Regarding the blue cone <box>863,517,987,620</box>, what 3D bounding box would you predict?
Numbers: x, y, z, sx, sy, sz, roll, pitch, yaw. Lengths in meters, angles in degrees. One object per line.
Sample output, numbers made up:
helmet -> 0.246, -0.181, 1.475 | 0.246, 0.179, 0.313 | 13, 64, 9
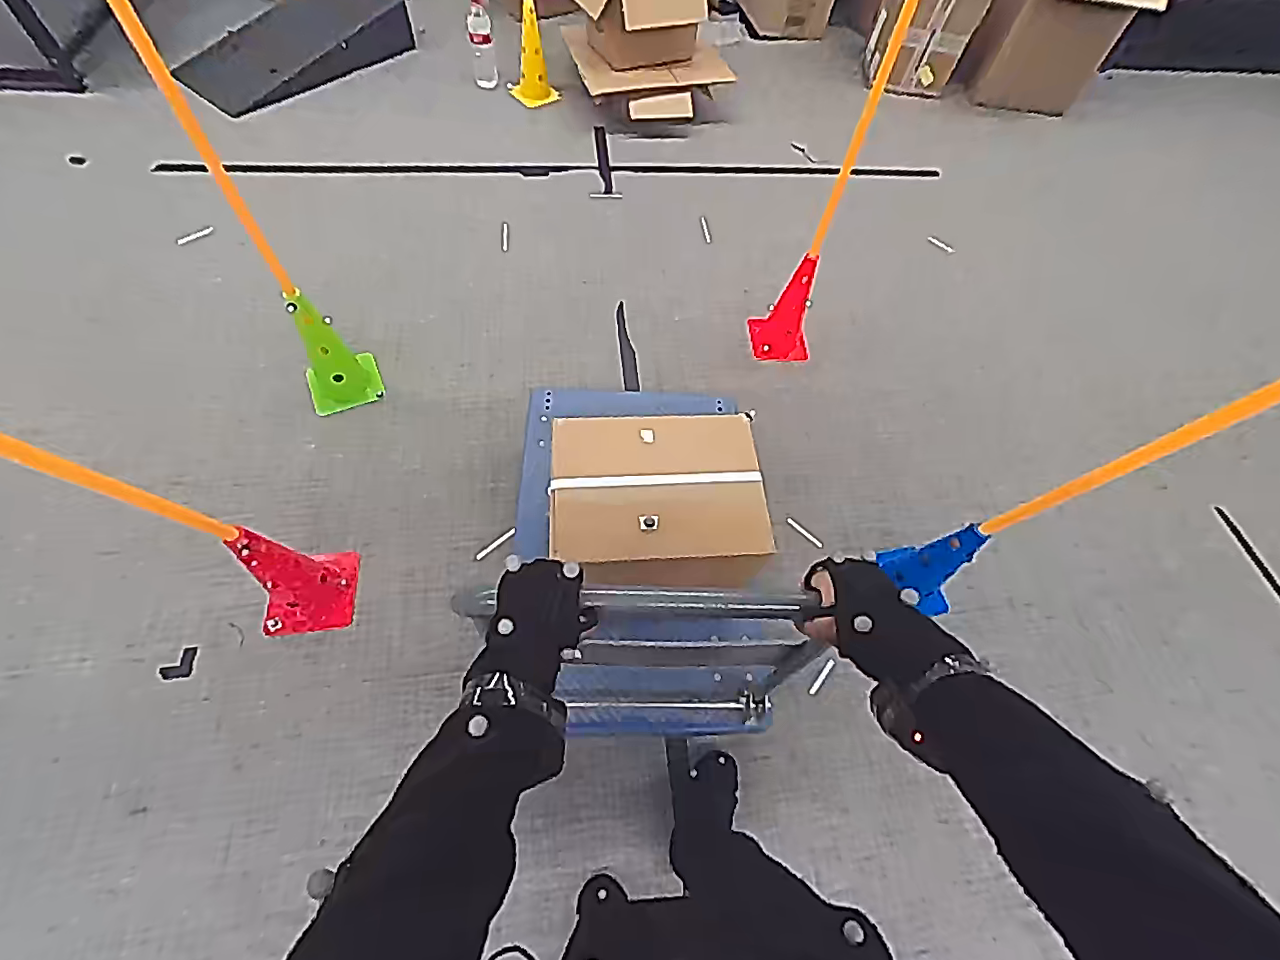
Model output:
blue cone -> 0.743, 0.202, 1.354 | 0.193, 0.380, 0.192 | -7, 60, -10

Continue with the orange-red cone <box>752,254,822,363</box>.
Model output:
orange-red cone -> 0.513, -0.579, 1.764 | 0.199, 0.360, 0.198 | 3, 61, -5
